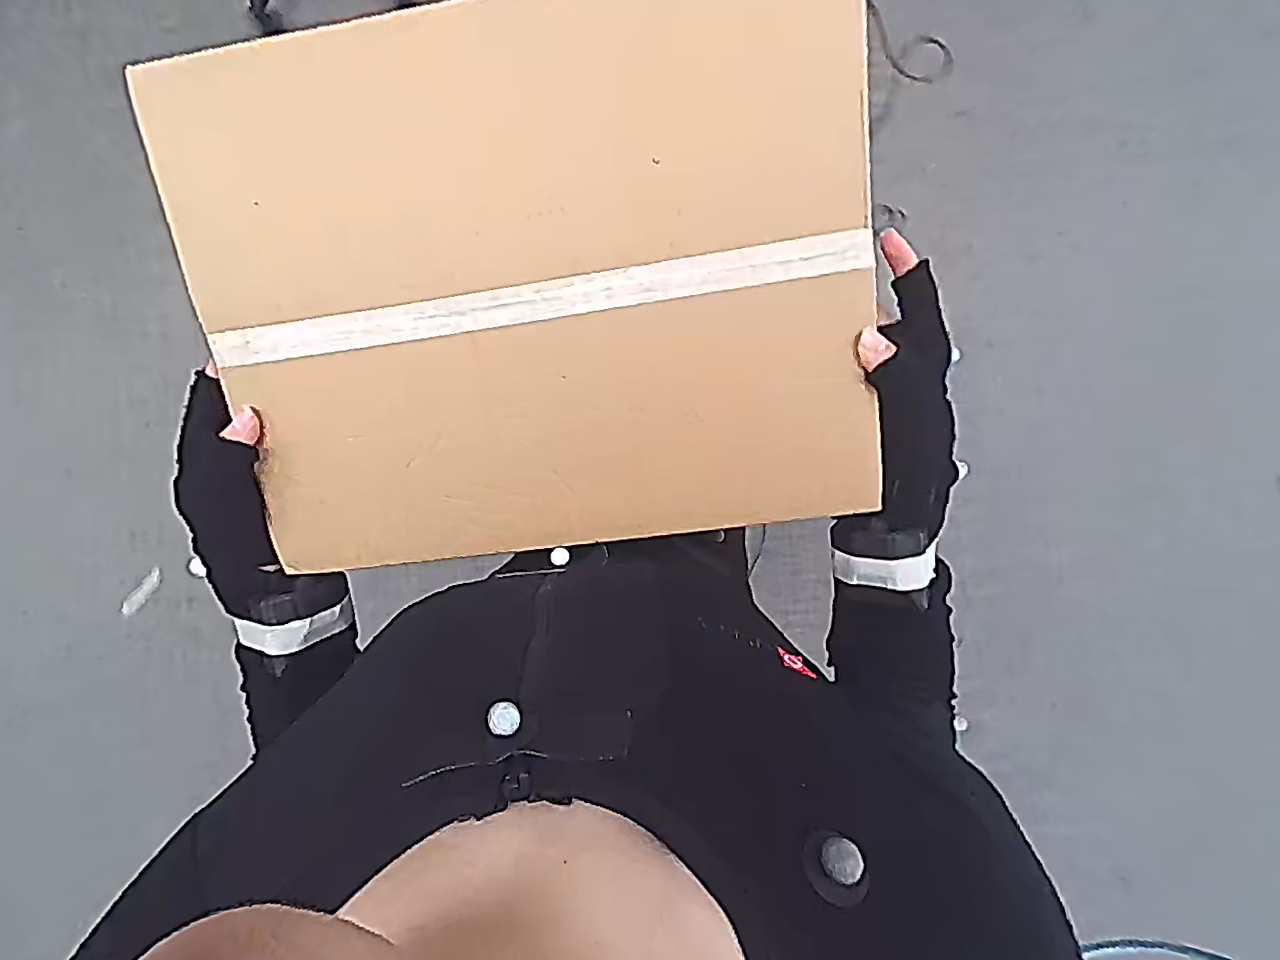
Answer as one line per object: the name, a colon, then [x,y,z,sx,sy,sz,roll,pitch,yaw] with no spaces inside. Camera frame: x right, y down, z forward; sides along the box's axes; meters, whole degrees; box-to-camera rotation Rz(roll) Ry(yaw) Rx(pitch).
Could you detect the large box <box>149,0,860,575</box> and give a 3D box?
large box: [-0.064,-0.144,0.481,0.408,0.320,0.320,-8,103,5]
